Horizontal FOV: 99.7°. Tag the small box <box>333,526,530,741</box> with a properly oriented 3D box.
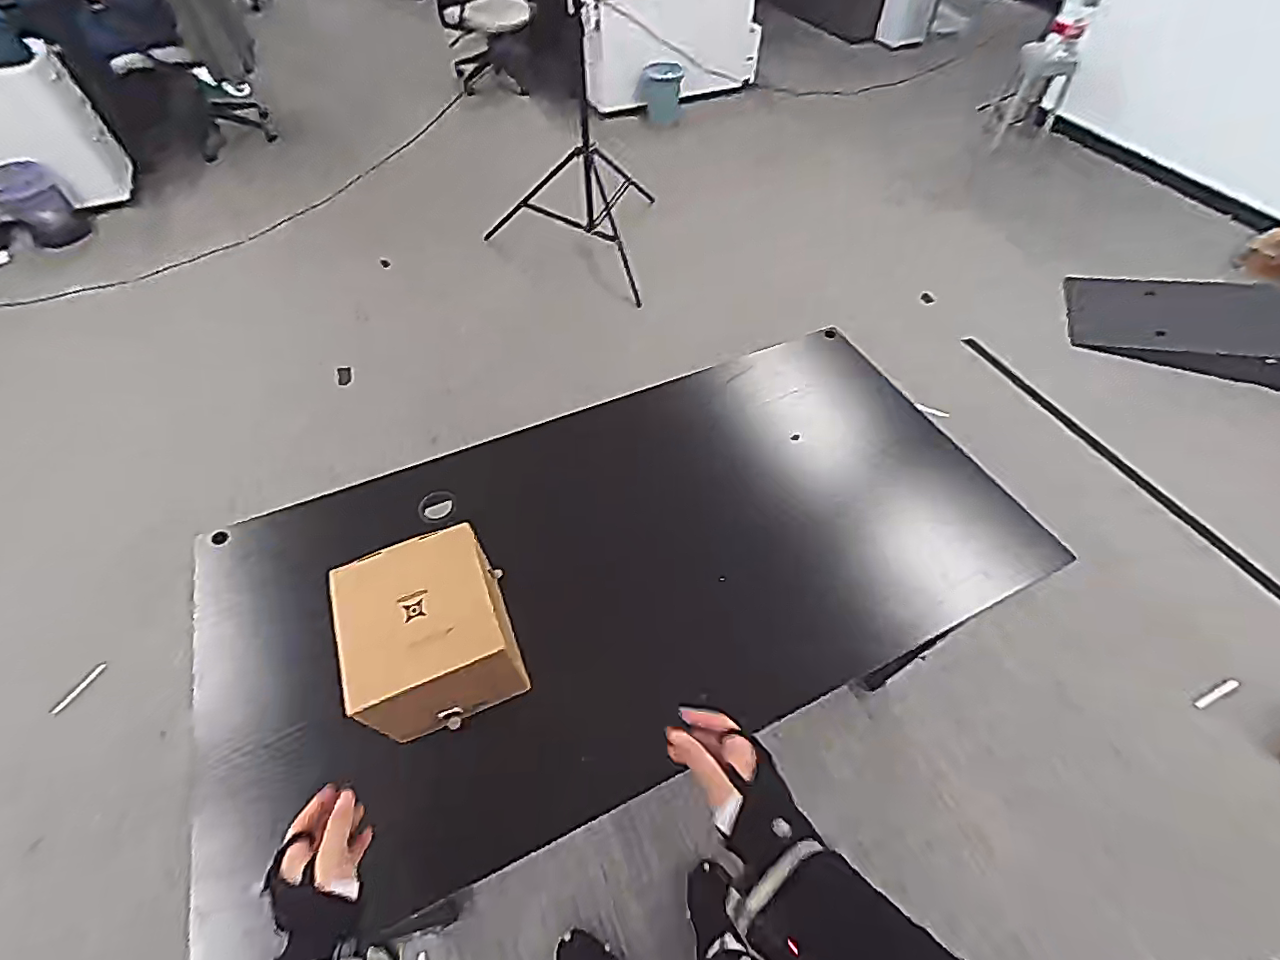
[{"bbox_3d":[-0.249,0.192,0.667,0.168,0.176,0.179,-21,58,-14],"label":"small box"}]
